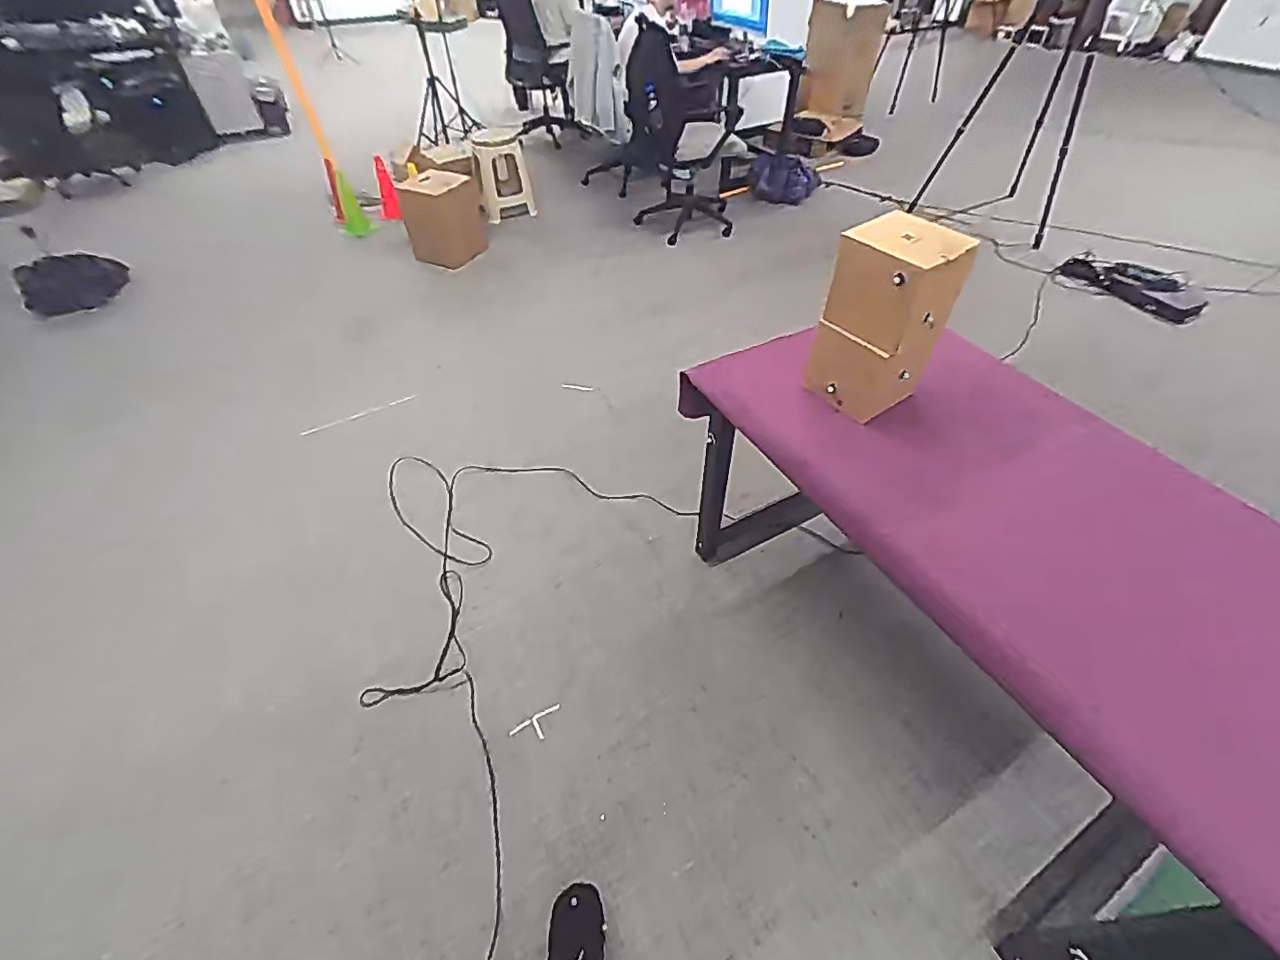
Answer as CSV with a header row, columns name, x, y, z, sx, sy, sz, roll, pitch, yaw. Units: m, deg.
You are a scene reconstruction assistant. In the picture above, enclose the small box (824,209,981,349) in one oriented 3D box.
name,x,y,z,sx,sy,sz,roll,pitch,yaw
small box,0.469,-0.369,0.995,0.168,0.176,0.179,-30,54,-23
